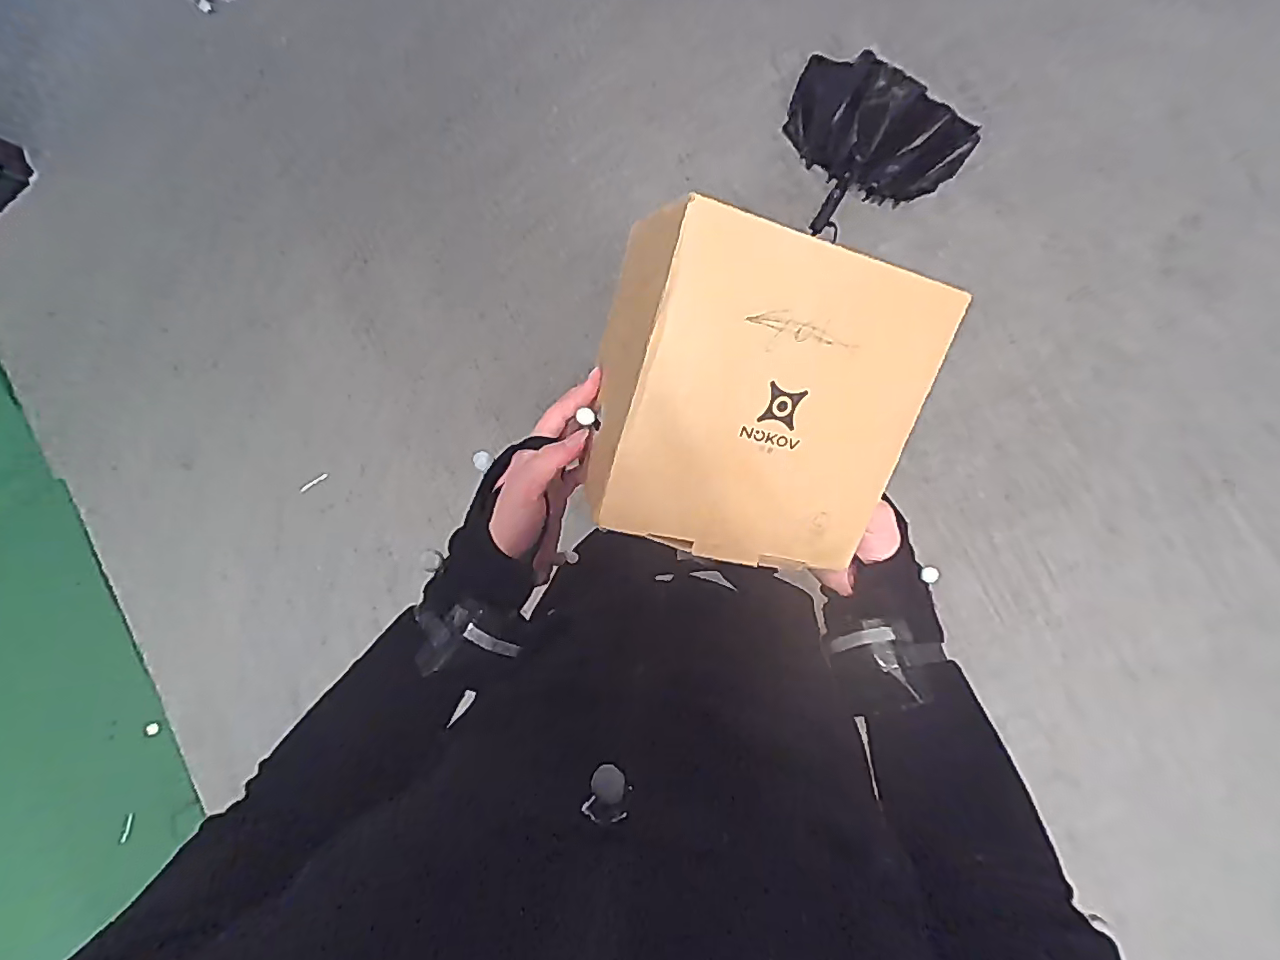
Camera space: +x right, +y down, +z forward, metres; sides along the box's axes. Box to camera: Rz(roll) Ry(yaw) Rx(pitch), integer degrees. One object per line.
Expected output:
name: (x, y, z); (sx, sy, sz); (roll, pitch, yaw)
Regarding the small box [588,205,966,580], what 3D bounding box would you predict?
small box: (0.064, -0.059, 0.369); (0.168, 0.176, 0.179); (12, 106, -15)
